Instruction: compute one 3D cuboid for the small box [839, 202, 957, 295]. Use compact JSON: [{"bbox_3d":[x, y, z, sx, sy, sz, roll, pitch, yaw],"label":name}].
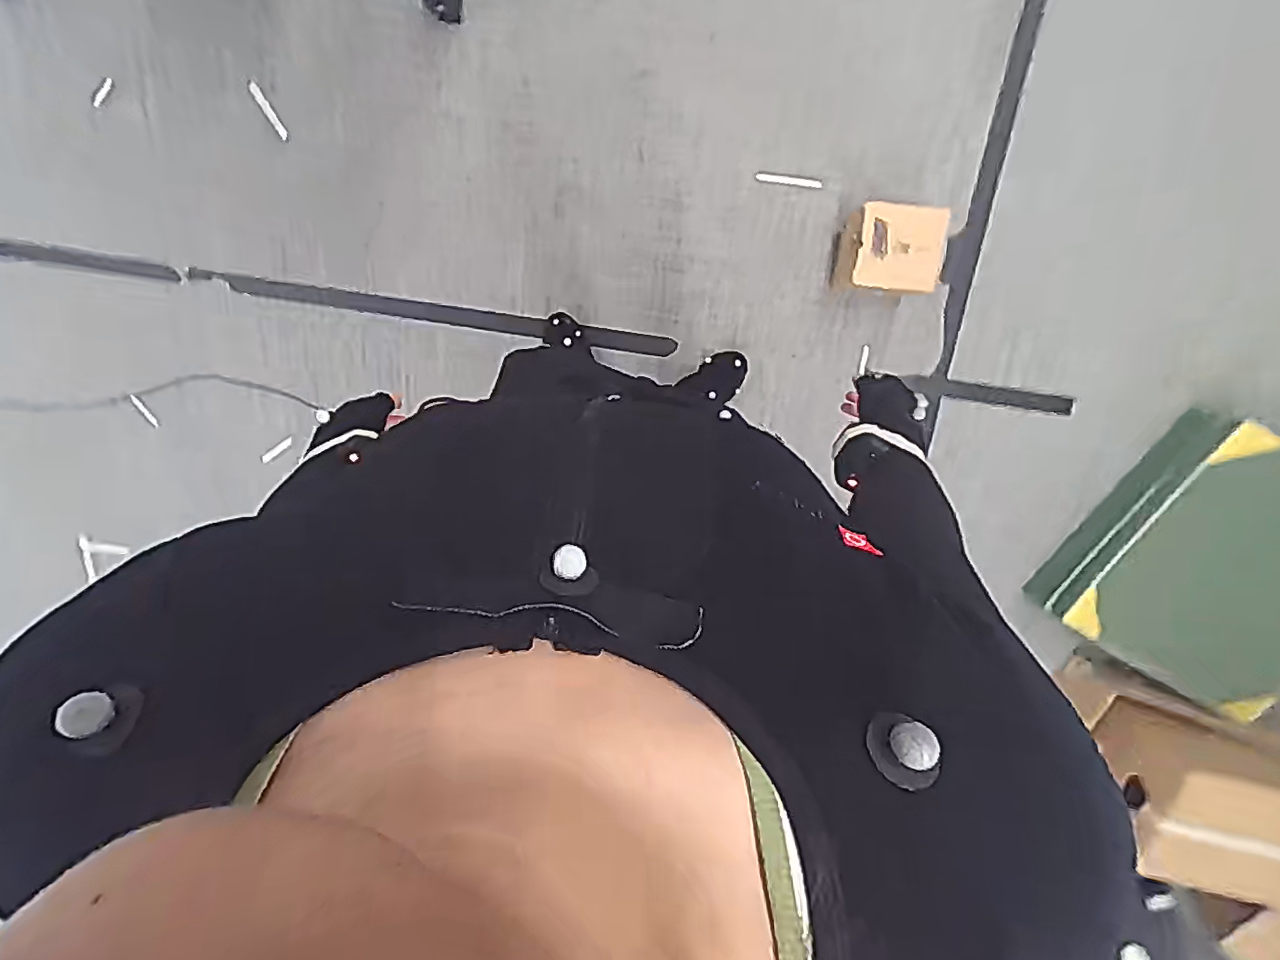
[{"bbox_3d":[0.567,-0.512,1.217,0.179,0.176,0.168,7,107,2],"label":"small box"}]
